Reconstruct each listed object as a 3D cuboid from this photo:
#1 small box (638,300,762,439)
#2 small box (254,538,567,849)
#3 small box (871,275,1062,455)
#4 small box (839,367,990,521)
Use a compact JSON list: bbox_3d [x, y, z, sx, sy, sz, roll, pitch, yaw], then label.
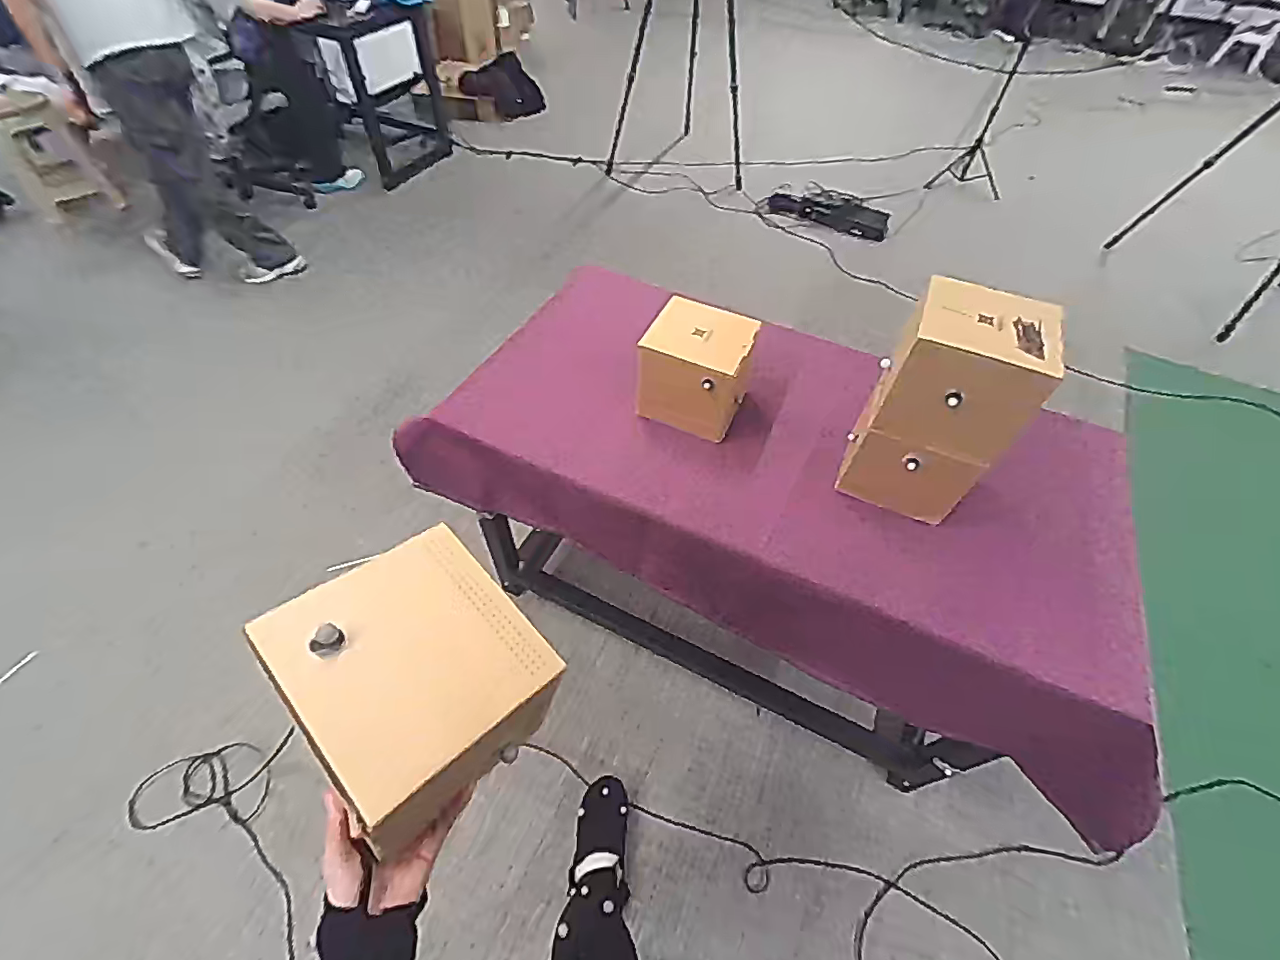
[{"bbox_3d":[0.105,-0.202,1.007,0.179,0.176,0.168,21,54,12],"label":"small box"},{"bbox_3d":[-0.193,0.174,0.478,0.179,0.168,0.176,44,50,18],"label":"small box"},{"bbox_3d":[0.461,-0.160,0.778,0.179,0.176,0.168,21,54,14],"label":"small box"},{"bbox_3d":[0.456,-0.058,0.907,0.179,0.176,0.168,22,55,14],"label":"small box"}]
